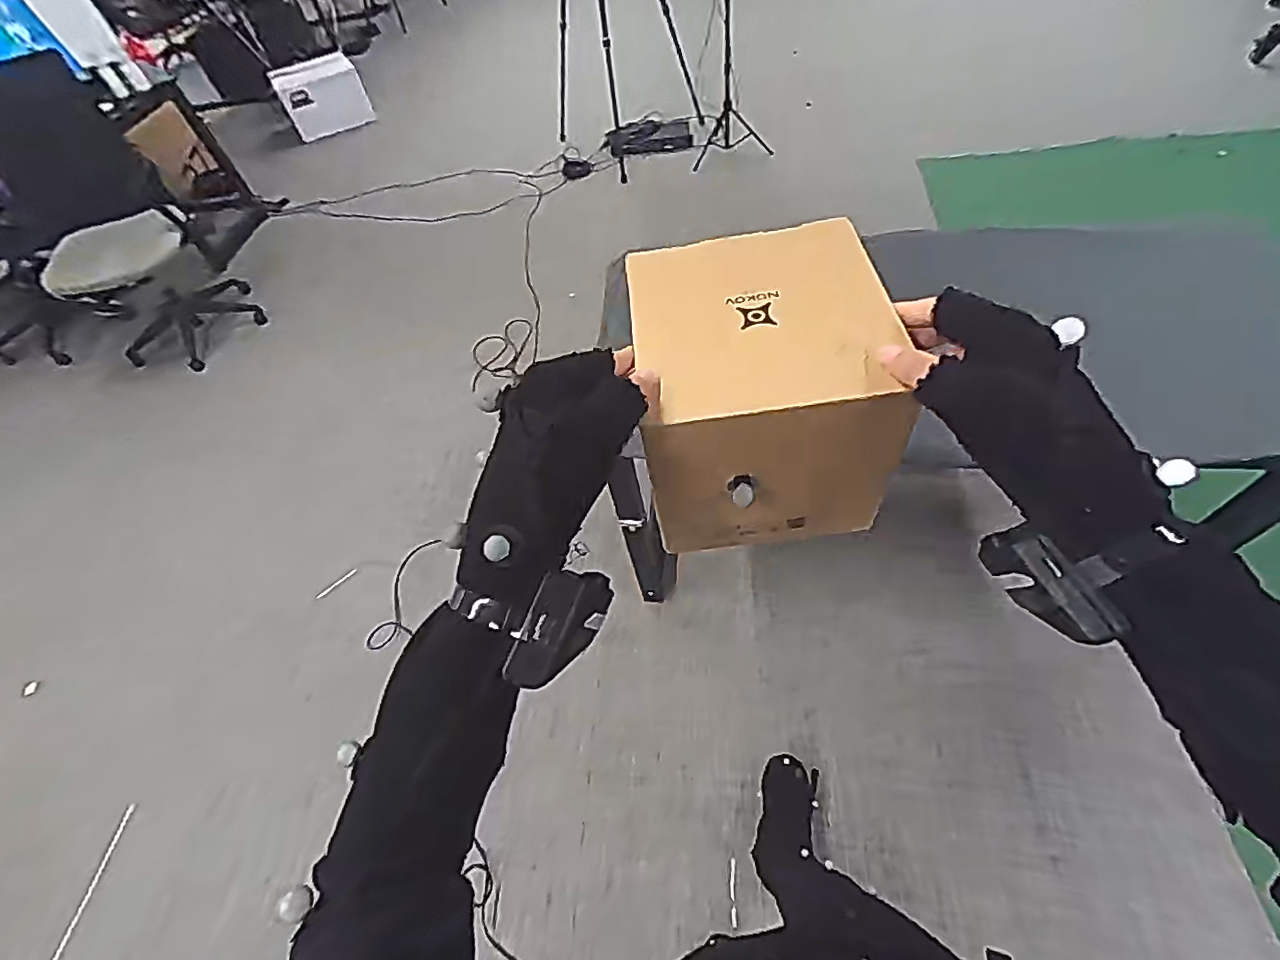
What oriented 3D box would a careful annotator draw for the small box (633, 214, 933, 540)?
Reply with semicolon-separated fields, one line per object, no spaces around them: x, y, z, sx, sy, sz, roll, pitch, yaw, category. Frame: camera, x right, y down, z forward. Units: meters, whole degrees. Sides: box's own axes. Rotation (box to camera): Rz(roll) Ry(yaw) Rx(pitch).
0.091;-0.066;0.415;0.168;0.176;0.179;-8;54;5;small box
